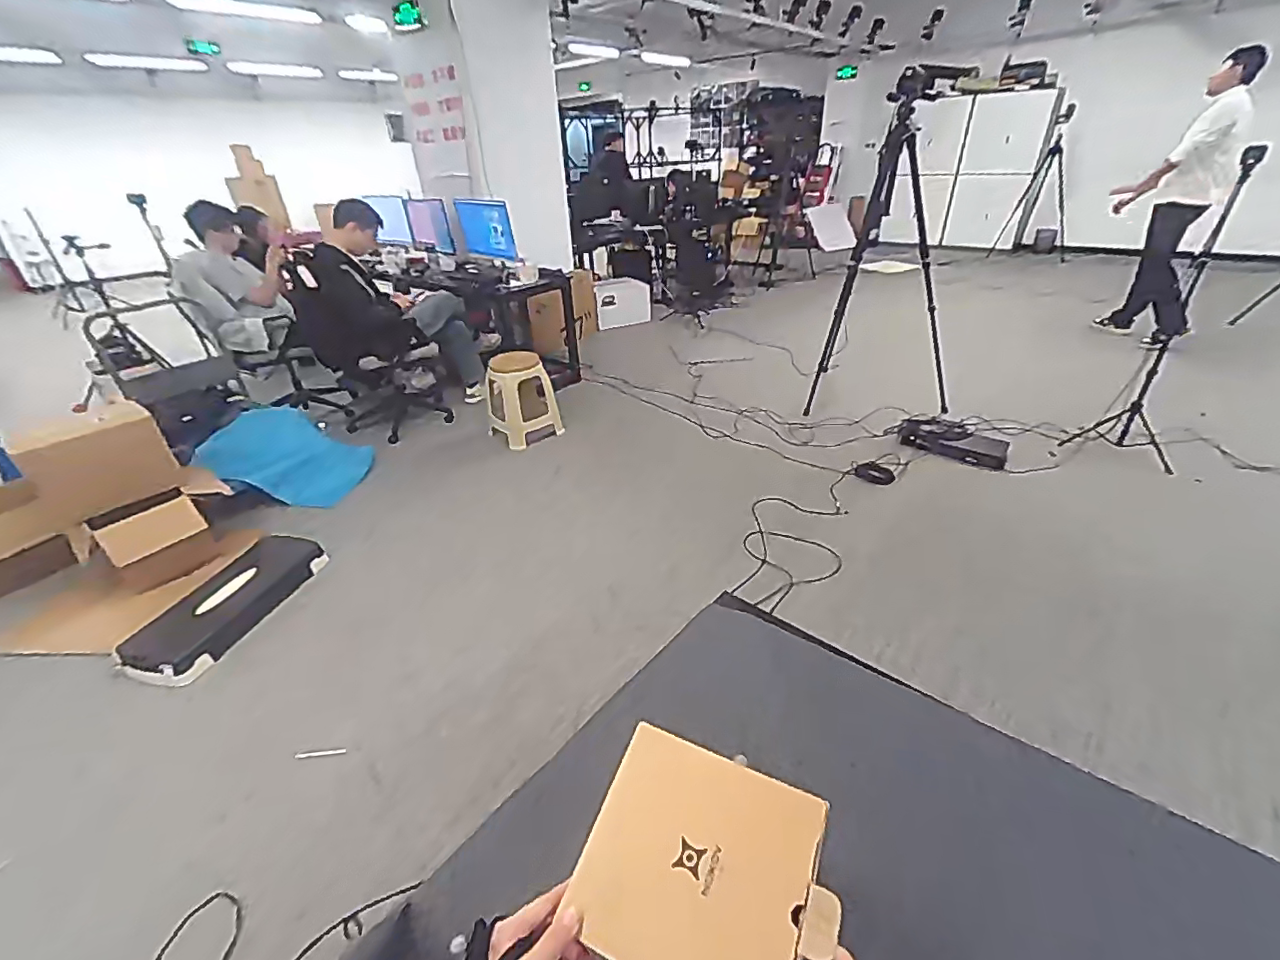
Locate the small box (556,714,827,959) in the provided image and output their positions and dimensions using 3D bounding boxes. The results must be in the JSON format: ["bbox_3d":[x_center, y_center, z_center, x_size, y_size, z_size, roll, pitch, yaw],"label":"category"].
[{"bbox_3d":[0.053,0.351,0.489,0.179,0.176,0.168,15,50,21],"label":"small box"}]
